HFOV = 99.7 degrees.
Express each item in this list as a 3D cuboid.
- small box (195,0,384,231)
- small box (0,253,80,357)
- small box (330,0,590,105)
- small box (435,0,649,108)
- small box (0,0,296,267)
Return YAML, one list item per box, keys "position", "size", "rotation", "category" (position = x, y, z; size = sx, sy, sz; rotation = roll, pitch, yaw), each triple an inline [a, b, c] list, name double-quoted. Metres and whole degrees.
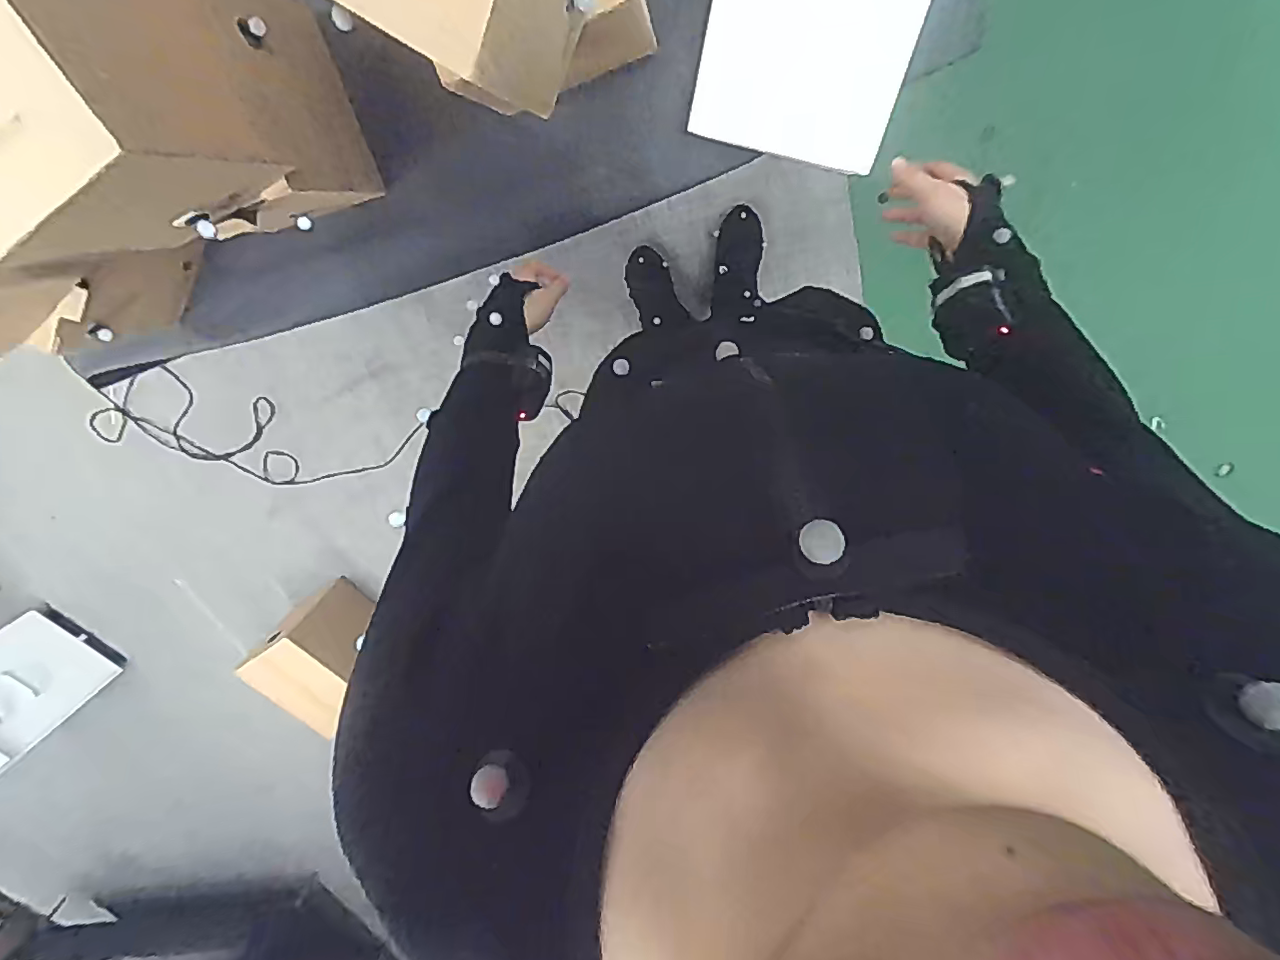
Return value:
- position: [-0.404, -0.363, 0.548]
  size: [0.168, 0.176, 0.179]
  rotation: [-10, 116, 14]
  category: "small box"
- position: [-0.684, -0.200, 0.486]
  size: [0.179, 0.176, 0.168]
  rotation: [-27, 112, 21]
  category: "small box"
- position: [-0.125, -0.360, 0.326]
  size: [0.179, 0.176, 0.168]
  rotation: [28, 119, -7]
  category: "small box"
- position: [-0.097, -0.449, 0.462]
  size: [0.179, 0.176, 0.168]
  rotation: [-14, 115, 15]
  category: "small box"
- position: [-0.419, -0.286, 0.406]
  size: [0.168, 0.176, 0.179]
  rotation: [-21, 113, 19]
  category: "small box"
